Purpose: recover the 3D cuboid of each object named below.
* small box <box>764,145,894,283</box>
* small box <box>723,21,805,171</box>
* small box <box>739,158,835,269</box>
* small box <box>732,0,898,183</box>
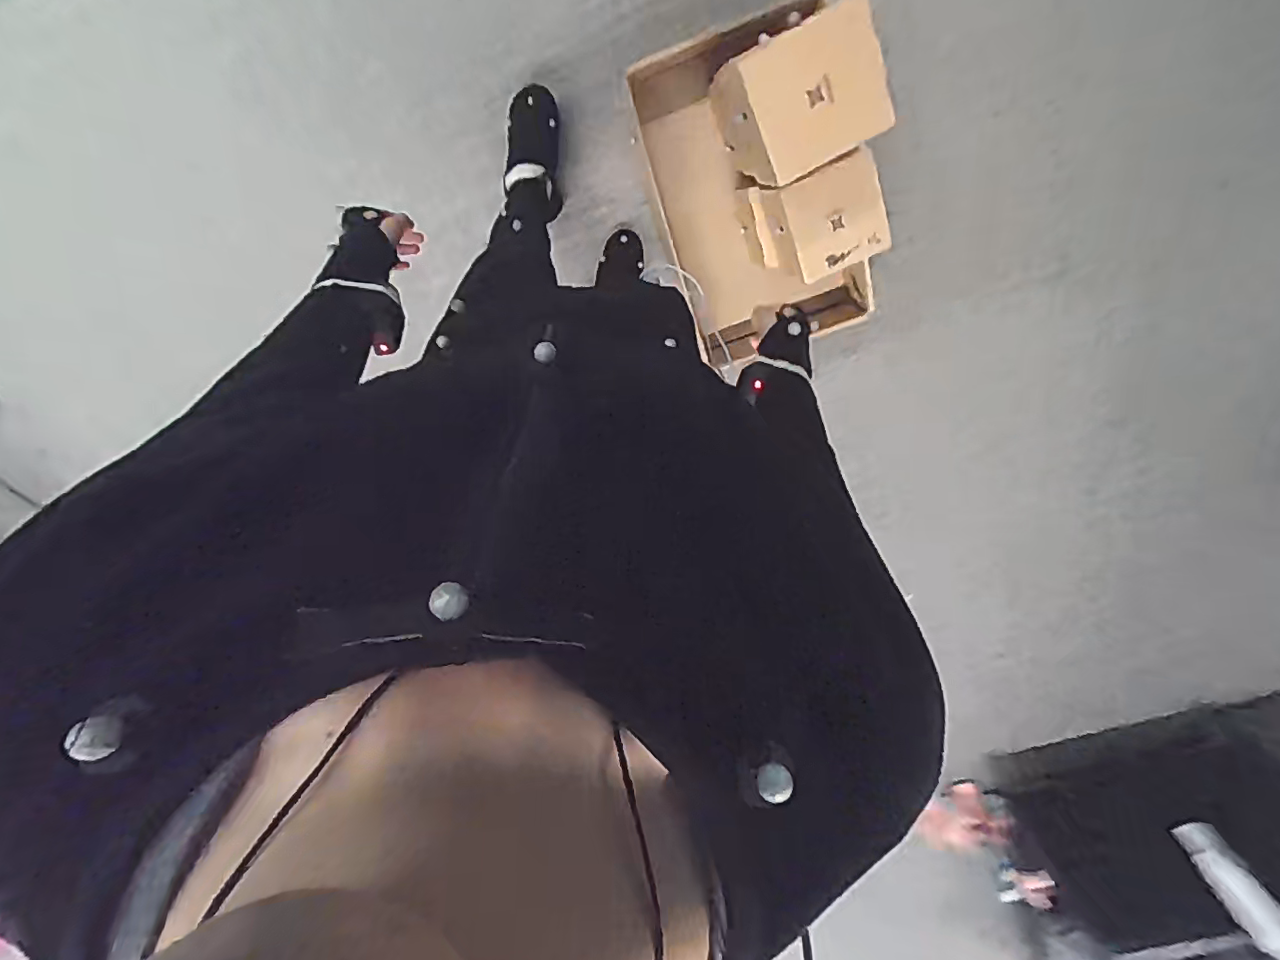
[{"bbox_3d":[0.347,-0.493,1.017,0.168,0.176,0.179,-21,115,10],"label":"small box"},{"bbox_3d":[0.252,-0.652,0.929,0.168,0.176,0.179,-20,117,11],"label":"small box"},{"bbox_3d":[0.327,-0.571,1.161,0.179,0.176,0.168,-16,116,9],"label":"small box"},{"bbox_3d":[0.244,-0.559,0.794,0.179,0.176,0.168,-23,117,12],"label":"small box"}]
